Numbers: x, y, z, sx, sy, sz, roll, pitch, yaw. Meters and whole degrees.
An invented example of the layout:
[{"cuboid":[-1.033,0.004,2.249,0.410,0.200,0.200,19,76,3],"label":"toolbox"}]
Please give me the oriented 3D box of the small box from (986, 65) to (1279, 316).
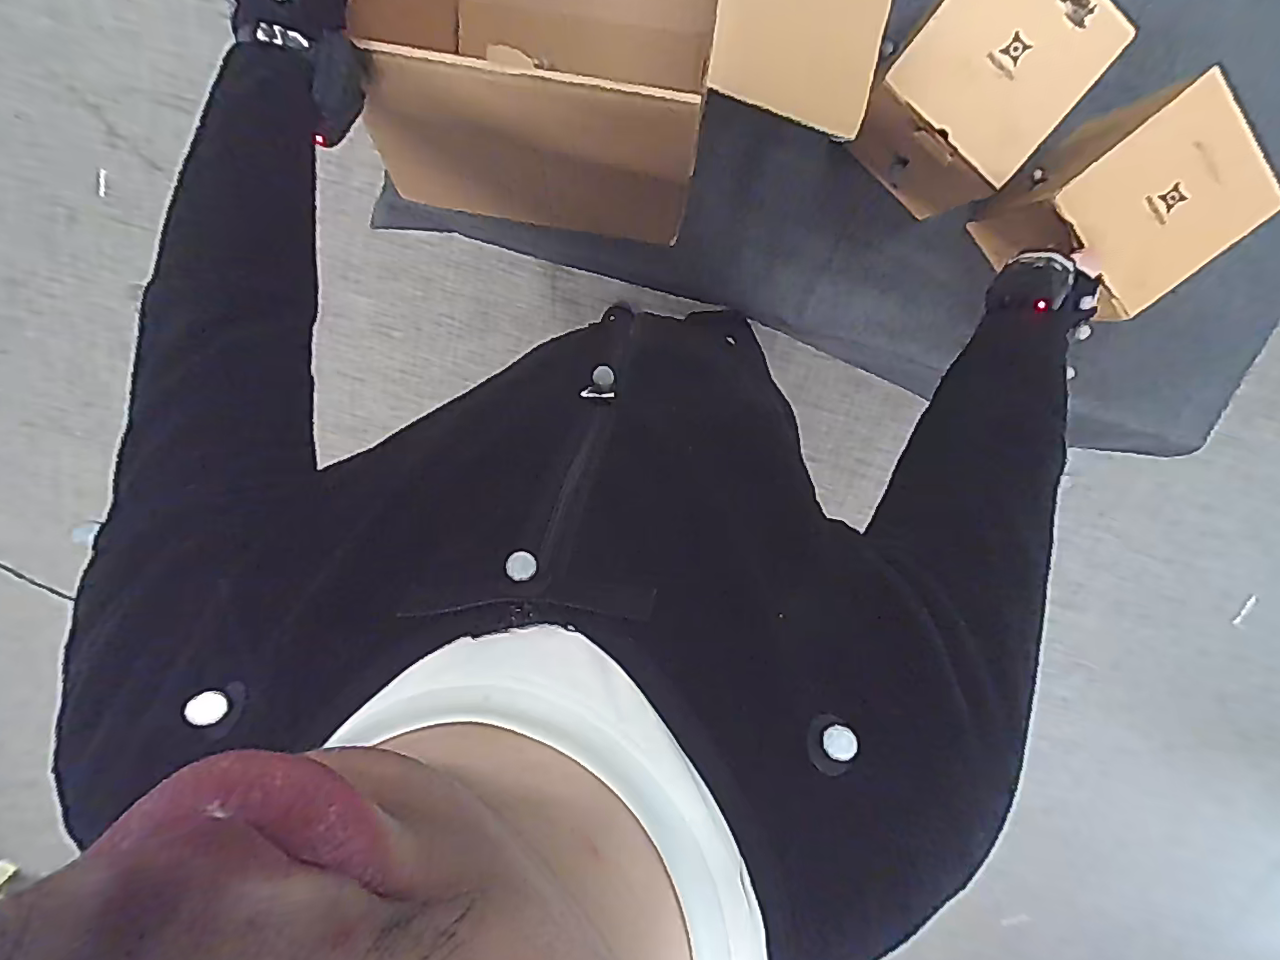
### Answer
[{"cuboid":[0.547,-0.311,0.628,0.179,0.176,0.168,-41,103,12],"label":"small box"}]
